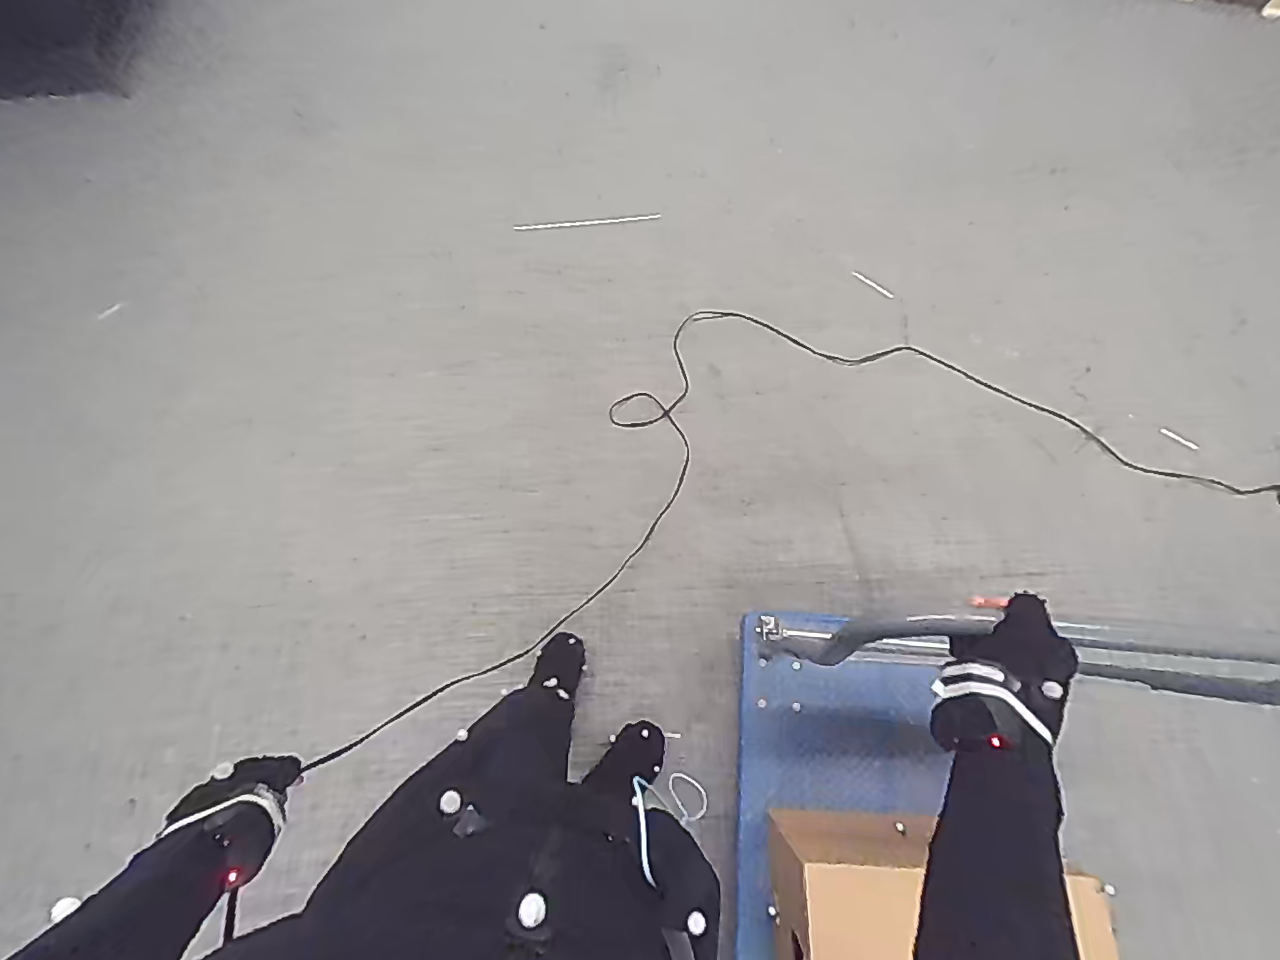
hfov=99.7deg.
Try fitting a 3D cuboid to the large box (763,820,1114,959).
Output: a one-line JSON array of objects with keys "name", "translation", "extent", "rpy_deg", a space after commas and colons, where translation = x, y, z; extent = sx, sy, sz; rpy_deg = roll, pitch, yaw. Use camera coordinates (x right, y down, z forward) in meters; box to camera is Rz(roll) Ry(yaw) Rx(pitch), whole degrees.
[{"name": "large box", "translation": [0.427, 0.739, 0.838], "extent": [0.408, 0.320, 0.320], "rpy_deg": [0, 71, 2]}]
